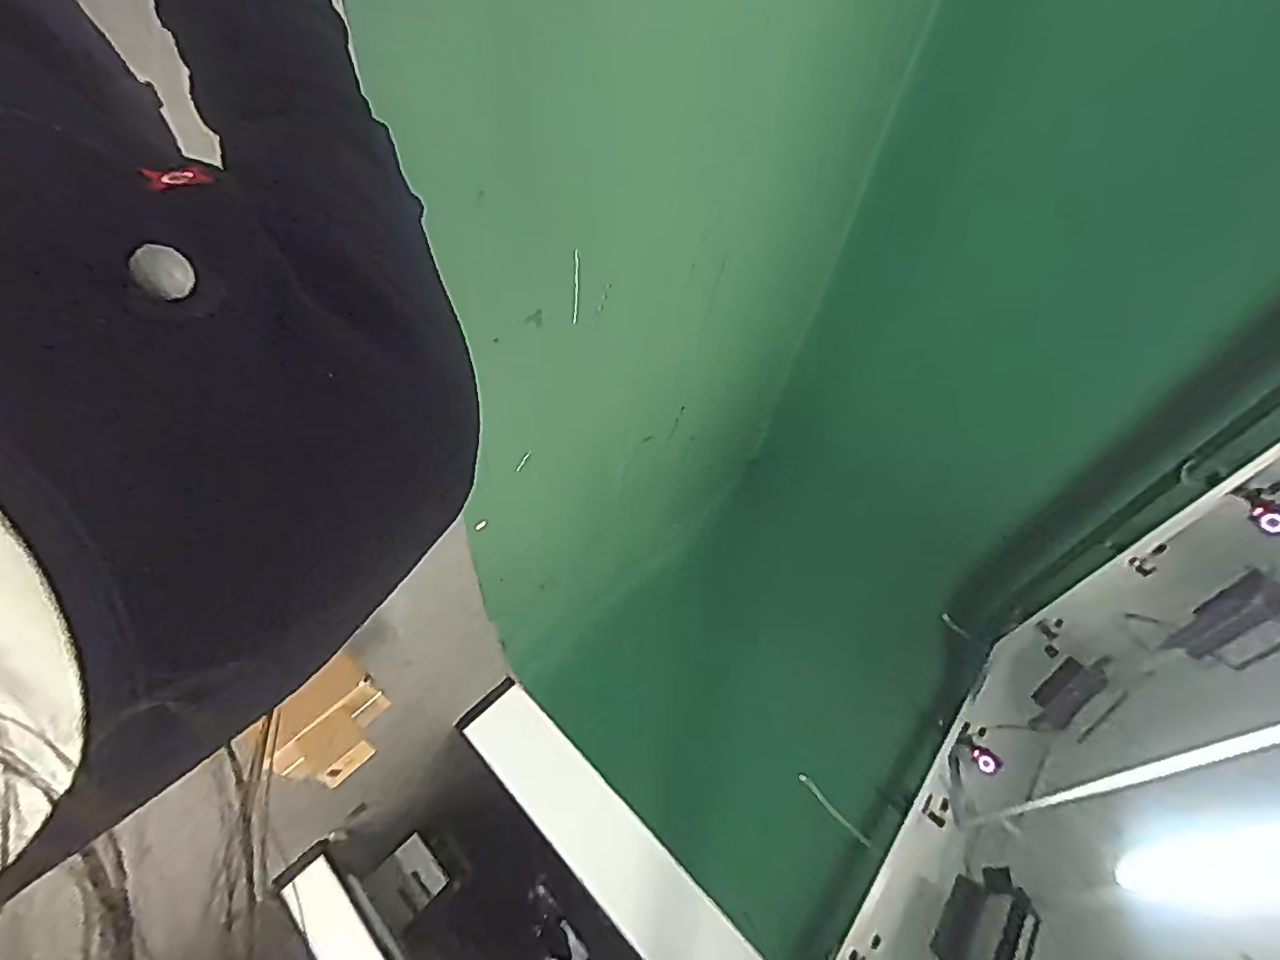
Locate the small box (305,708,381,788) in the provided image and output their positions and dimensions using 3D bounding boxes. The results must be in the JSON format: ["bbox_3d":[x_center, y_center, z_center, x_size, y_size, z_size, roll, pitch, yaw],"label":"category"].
[{"bbox_3d":[-1.103,0.987,1.998,0.179,0.176,0.168,-39,152,-31],"label":"small box"}]
